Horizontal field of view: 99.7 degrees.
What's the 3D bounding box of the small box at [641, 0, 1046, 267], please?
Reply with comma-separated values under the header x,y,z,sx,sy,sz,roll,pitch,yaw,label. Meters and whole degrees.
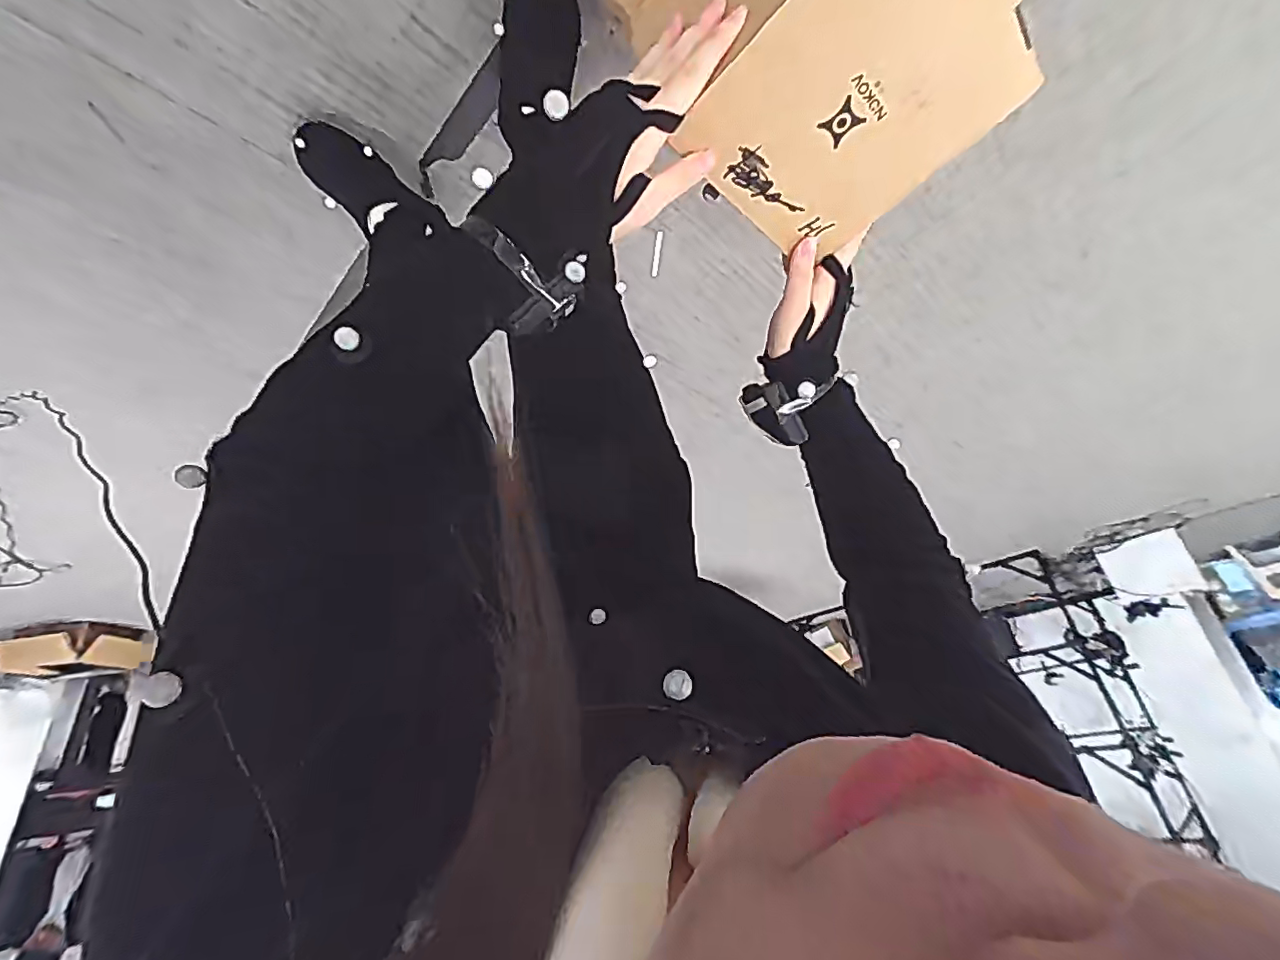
x,y,z,sx,sy,sz,roll,pitch,yaw,label
0.119,-0.295,0.364,0.168,0.176,0.179,21,138,-40,small box
